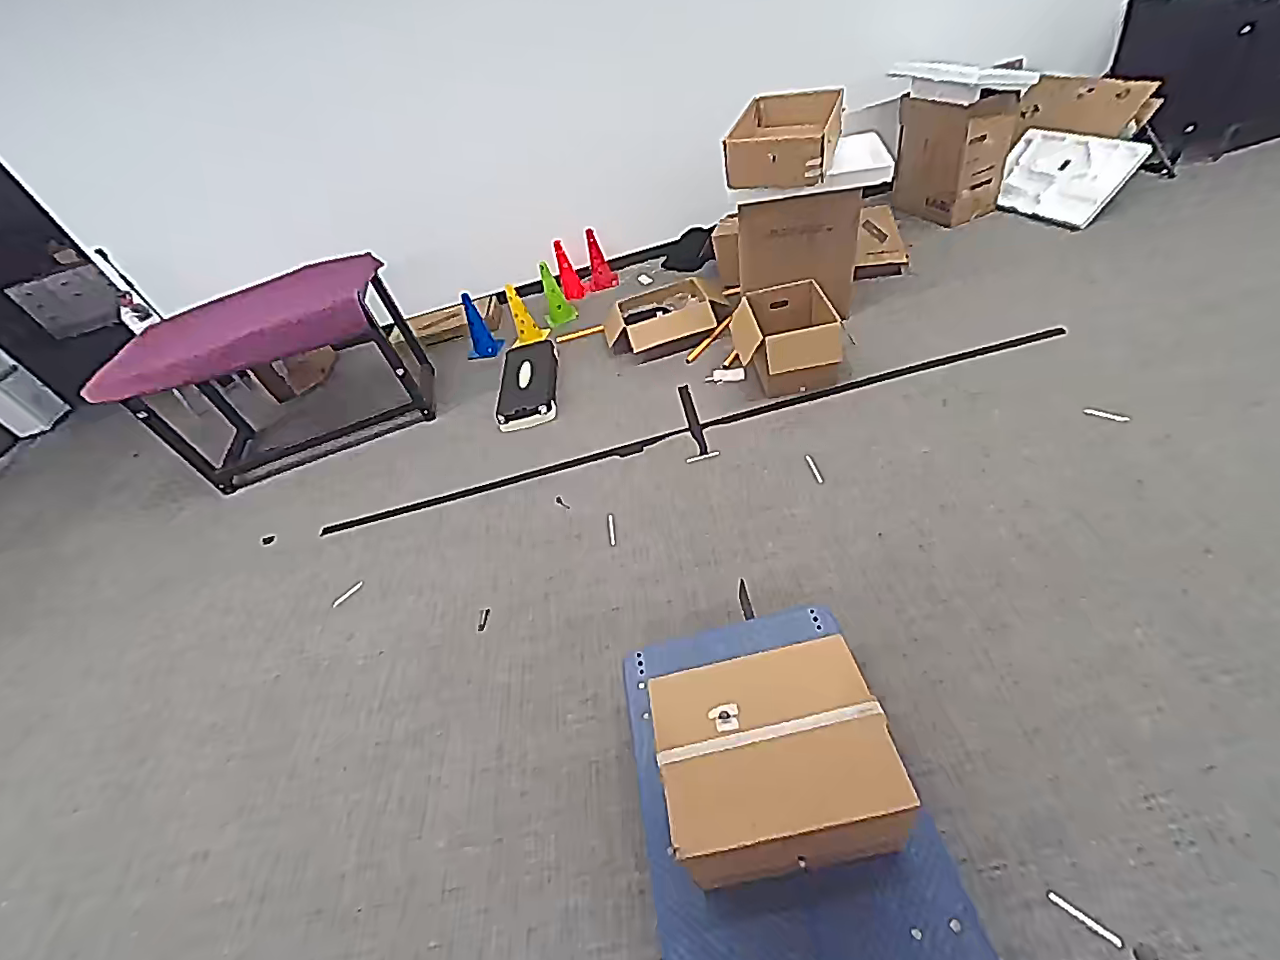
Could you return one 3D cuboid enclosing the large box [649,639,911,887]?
[{"bbox_3d":[0.265,0.576,1.095,0.408,0.320,0.320,-16,43,4],"label":"large box"}]
